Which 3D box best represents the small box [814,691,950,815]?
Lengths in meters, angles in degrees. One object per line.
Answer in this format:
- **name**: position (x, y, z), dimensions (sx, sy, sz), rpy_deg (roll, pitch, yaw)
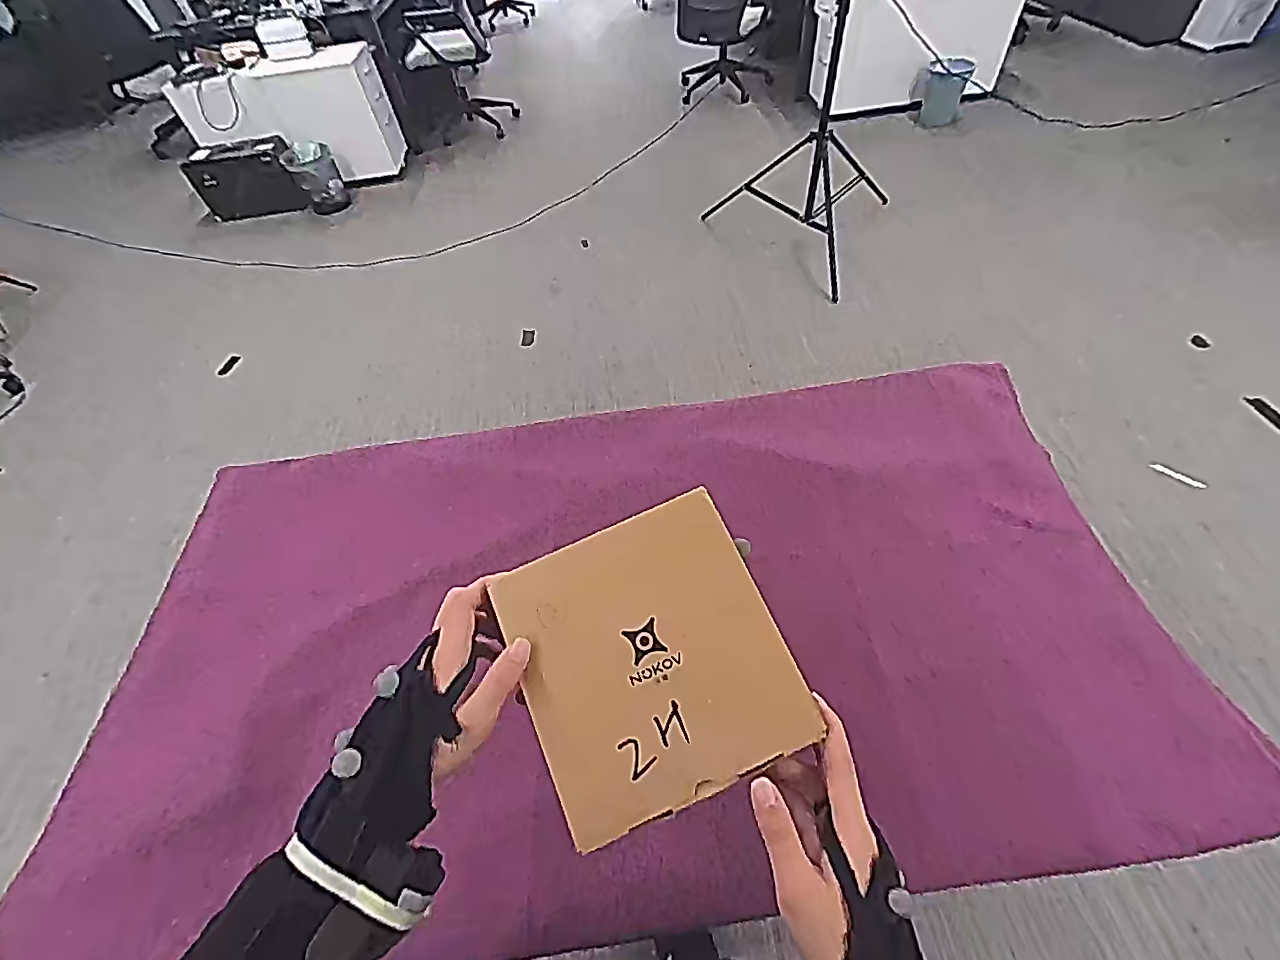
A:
- **small box**: position (0.440, 0.519, 1.016), dimensions (0.168, 0.176, 0.179), rpy_deg (-8, 51, 1)
